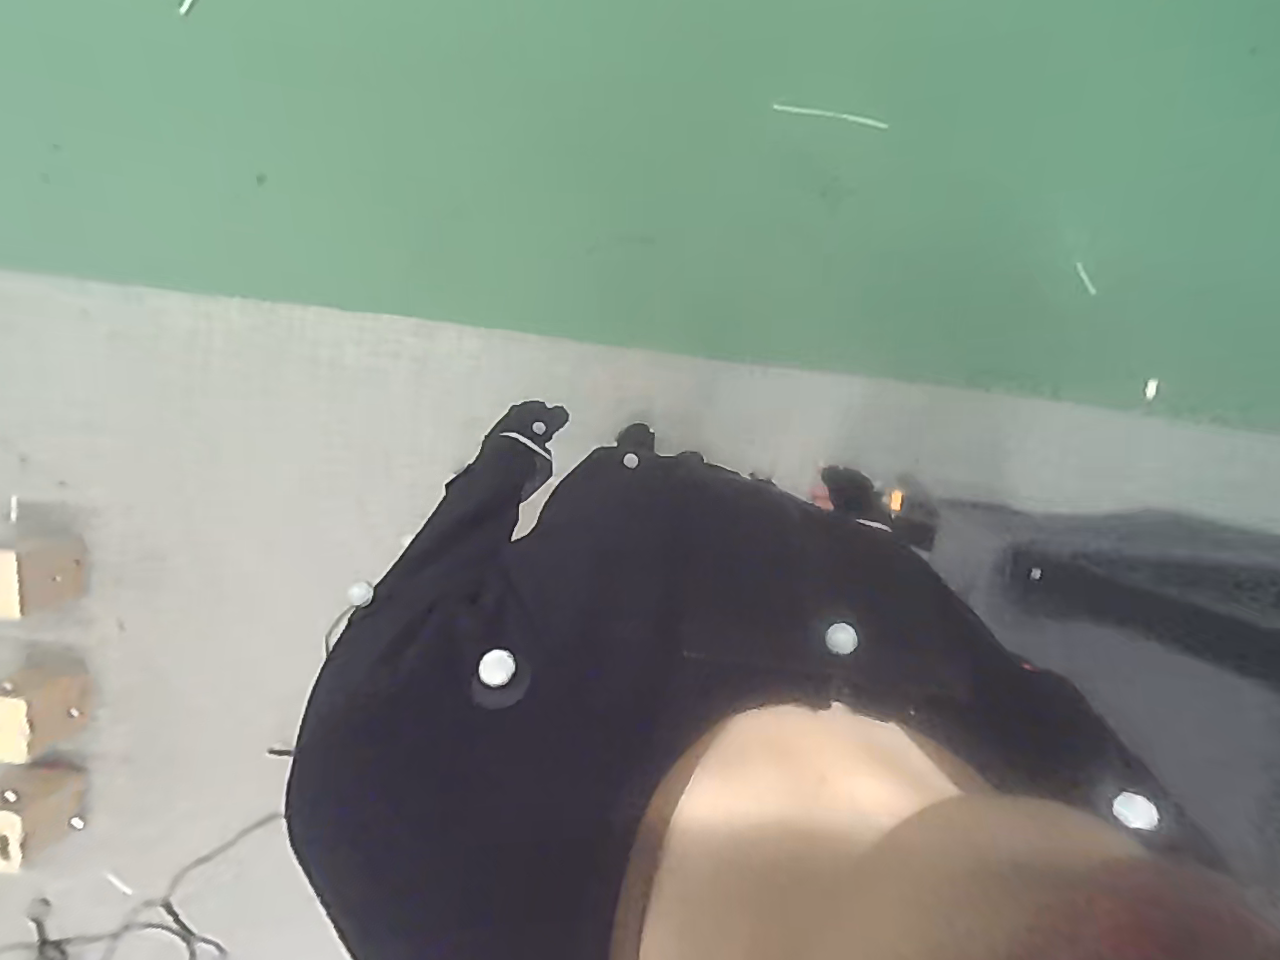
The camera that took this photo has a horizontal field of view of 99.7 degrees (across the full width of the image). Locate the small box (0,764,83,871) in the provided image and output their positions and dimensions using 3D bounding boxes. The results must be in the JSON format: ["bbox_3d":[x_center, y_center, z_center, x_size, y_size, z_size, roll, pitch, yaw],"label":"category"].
[{"bbox_3d":[-1.621,0.870,1.409,0.179,0.176,0.168,9,95,-2],"label":"small box"}]

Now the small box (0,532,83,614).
[{"bbox_3d":[-1.553,0.226,1.350,0.179,0.176,0.168,3,95,-3],"label":"small box"}]

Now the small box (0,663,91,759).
[{"bbox_3d":[-1.578,0.584,1.385,0.179,0.176,0.168,4,96,-4],"label":"small box"}]
